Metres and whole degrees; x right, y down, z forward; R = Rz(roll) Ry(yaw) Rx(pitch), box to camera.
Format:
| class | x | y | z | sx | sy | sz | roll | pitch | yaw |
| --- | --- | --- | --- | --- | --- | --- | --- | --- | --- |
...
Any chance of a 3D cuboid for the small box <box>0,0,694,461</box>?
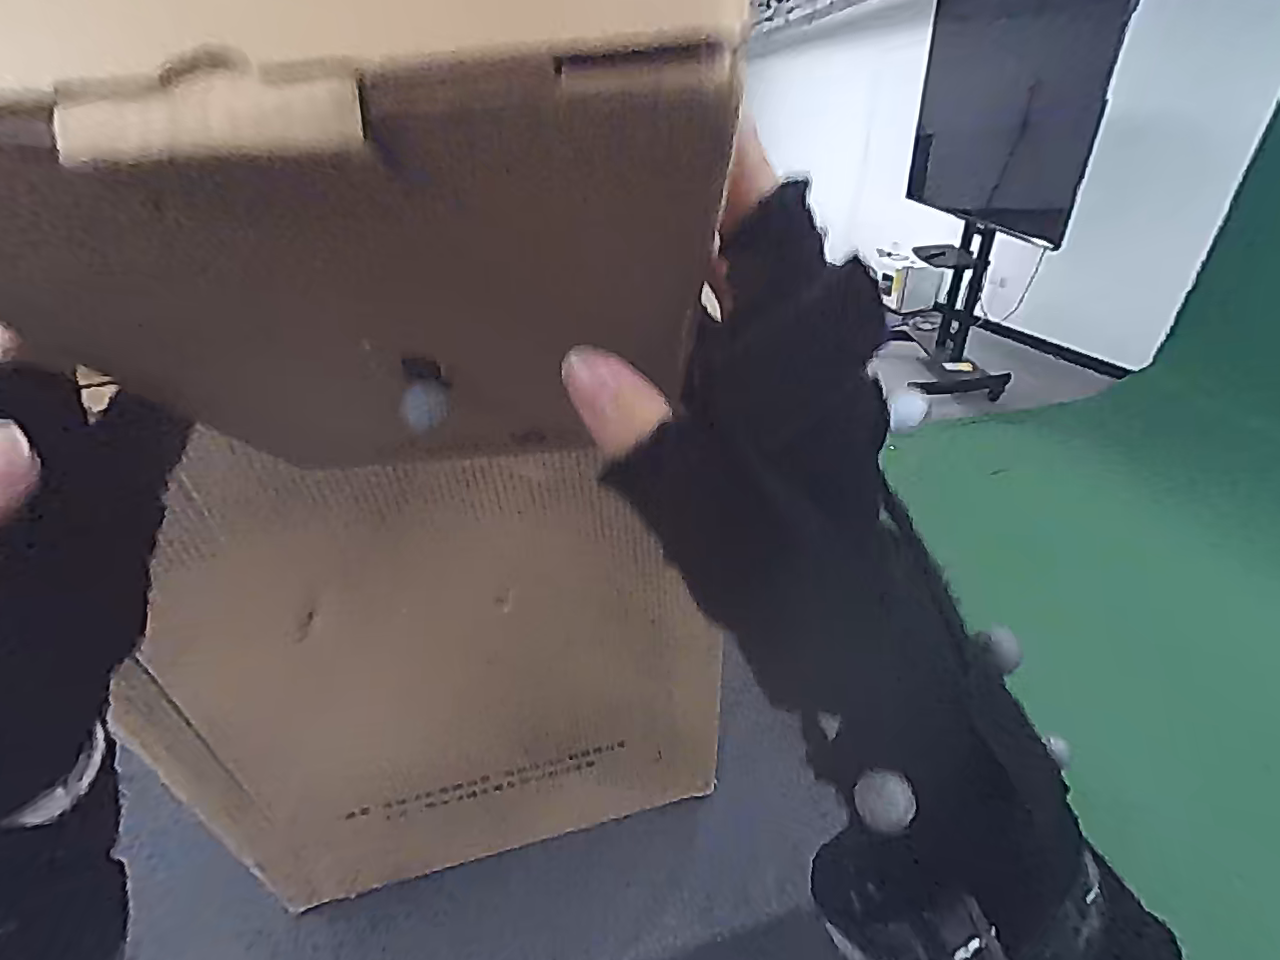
| class | x | y | z | sx | sy | sz | roll | pitch | yaw |
| --- | --- | --- | --- | --- | --- | --- | --- | --- | --- |
| small box | -0.076 | -0.111 | 0.189 | 0.168 | 0.176 | 0.179 | -5 | 74 | -2 |
